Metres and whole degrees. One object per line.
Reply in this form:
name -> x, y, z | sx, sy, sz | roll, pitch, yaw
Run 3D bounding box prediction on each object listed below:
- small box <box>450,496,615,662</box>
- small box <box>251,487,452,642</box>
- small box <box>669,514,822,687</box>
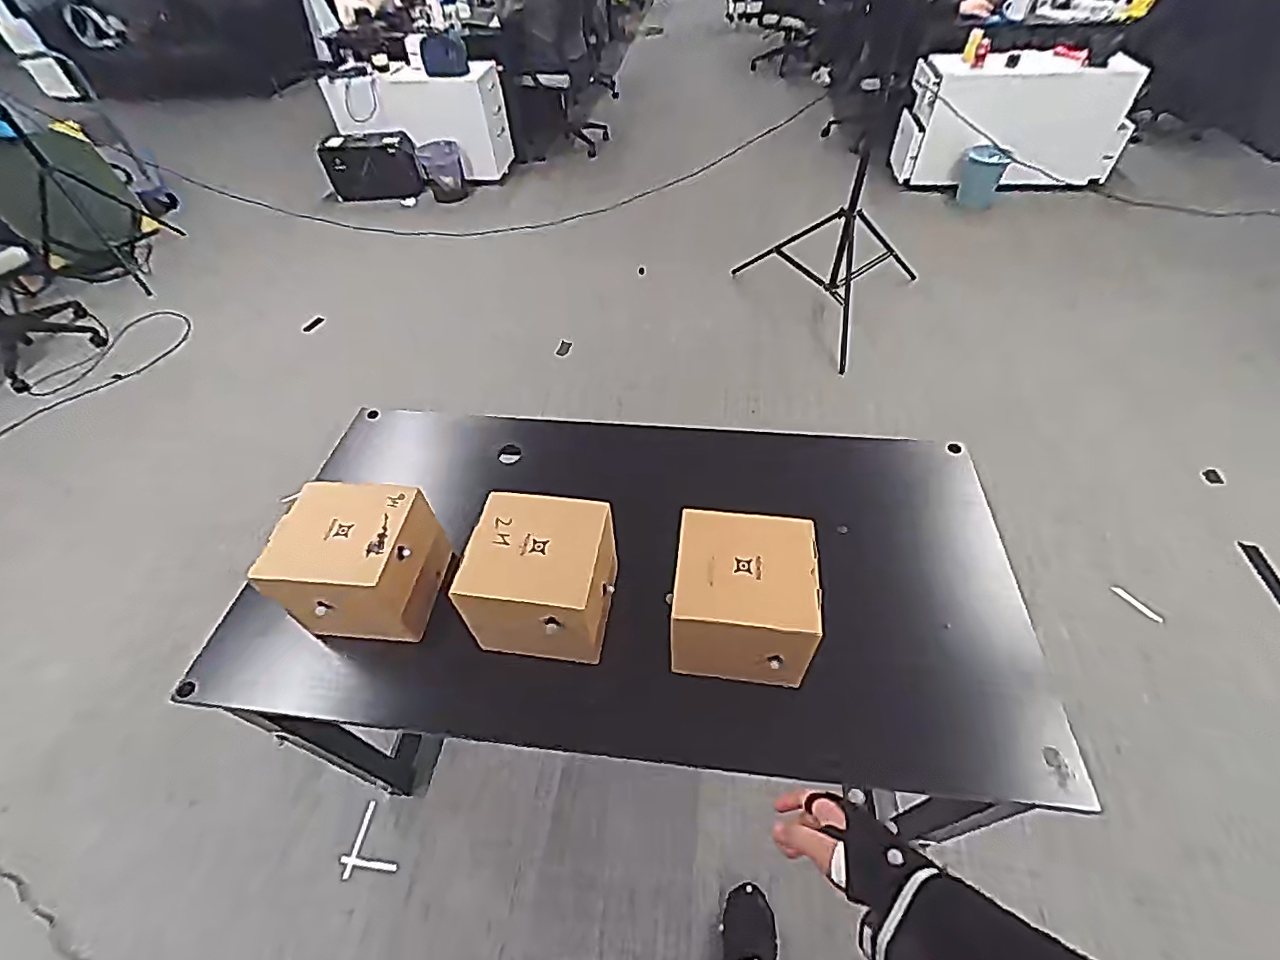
small box -> -0.136, 0.144, 0.769 | 0.179, 0.176, 0.168 | 5, 49, 7
small box -> -0.407, 0.127, 0.800 | 0.179, 0.176, 0.168 | 2, 50, 5
small box -> 0.134, 0.167, 0.736 | 0.179, 0.176, 0.168 | 4, 48, 6
